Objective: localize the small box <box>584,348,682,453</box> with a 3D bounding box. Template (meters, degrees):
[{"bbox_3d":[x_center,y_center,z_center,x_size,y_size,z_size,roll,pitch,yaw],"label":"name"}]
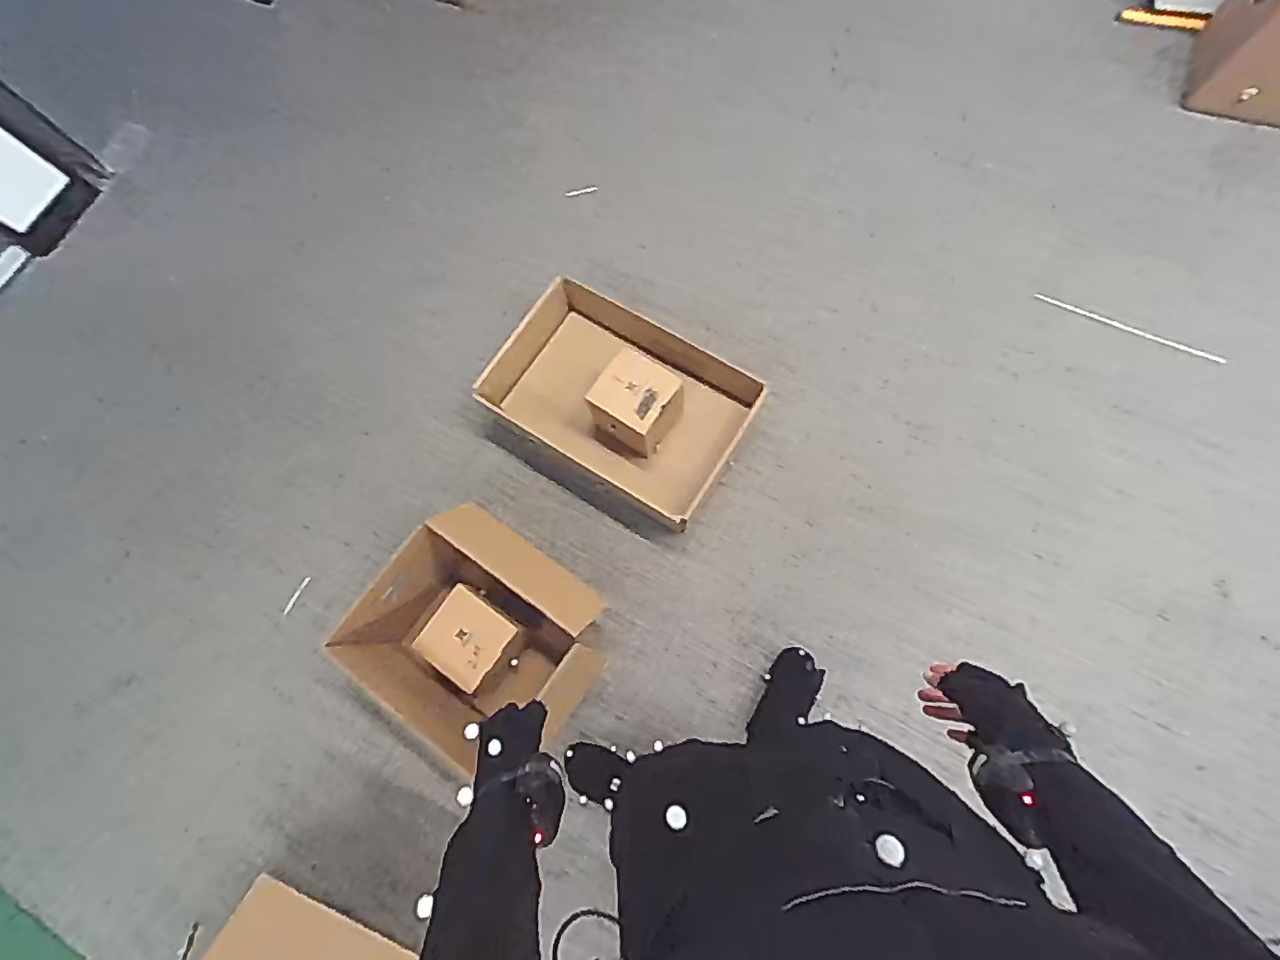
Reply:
[{"bbox_3d":[-0.010,-0.187,1.338,0.179,0.176,0.168,33,79,14],"label":"small box"}]
